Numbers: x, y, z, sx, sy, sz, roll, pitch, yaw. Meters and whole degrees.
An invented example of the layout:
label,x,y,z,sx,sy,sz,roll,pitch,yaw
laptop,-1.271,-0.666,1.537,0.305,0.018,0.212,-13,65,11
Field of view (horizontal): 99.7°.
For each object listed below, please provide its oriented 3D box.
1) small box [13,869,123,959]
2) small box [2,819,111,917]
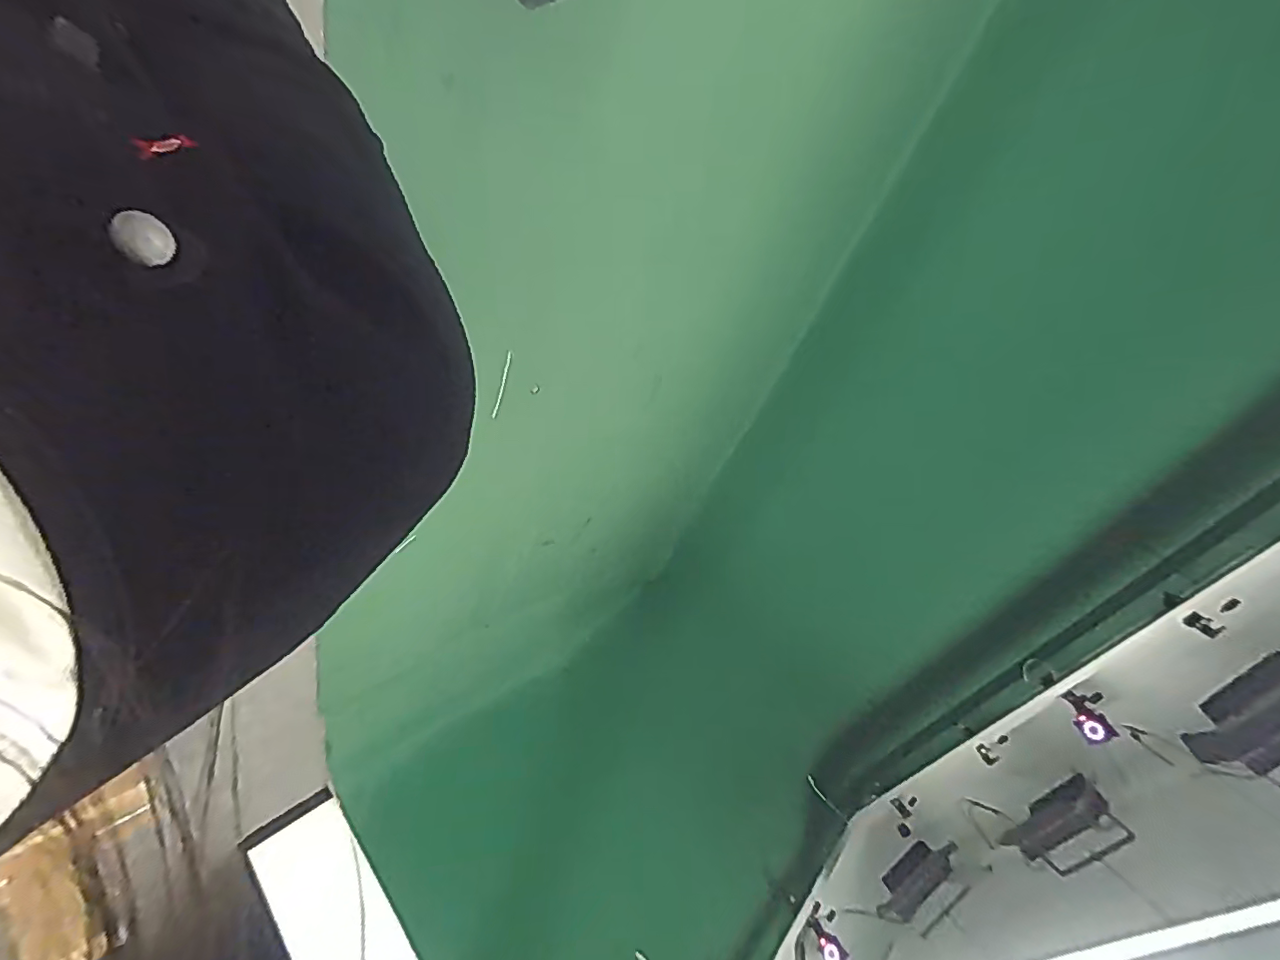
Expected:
label,x,y,z,sx,sy,sz,roll,pitch,yaw
small box,-1.597,1.248,1.509,0.179,0.176,0.168,-22,145,-44
small box,-1.702,1.143,1.580,0.179,0.176,0.168,-20,143,-45
